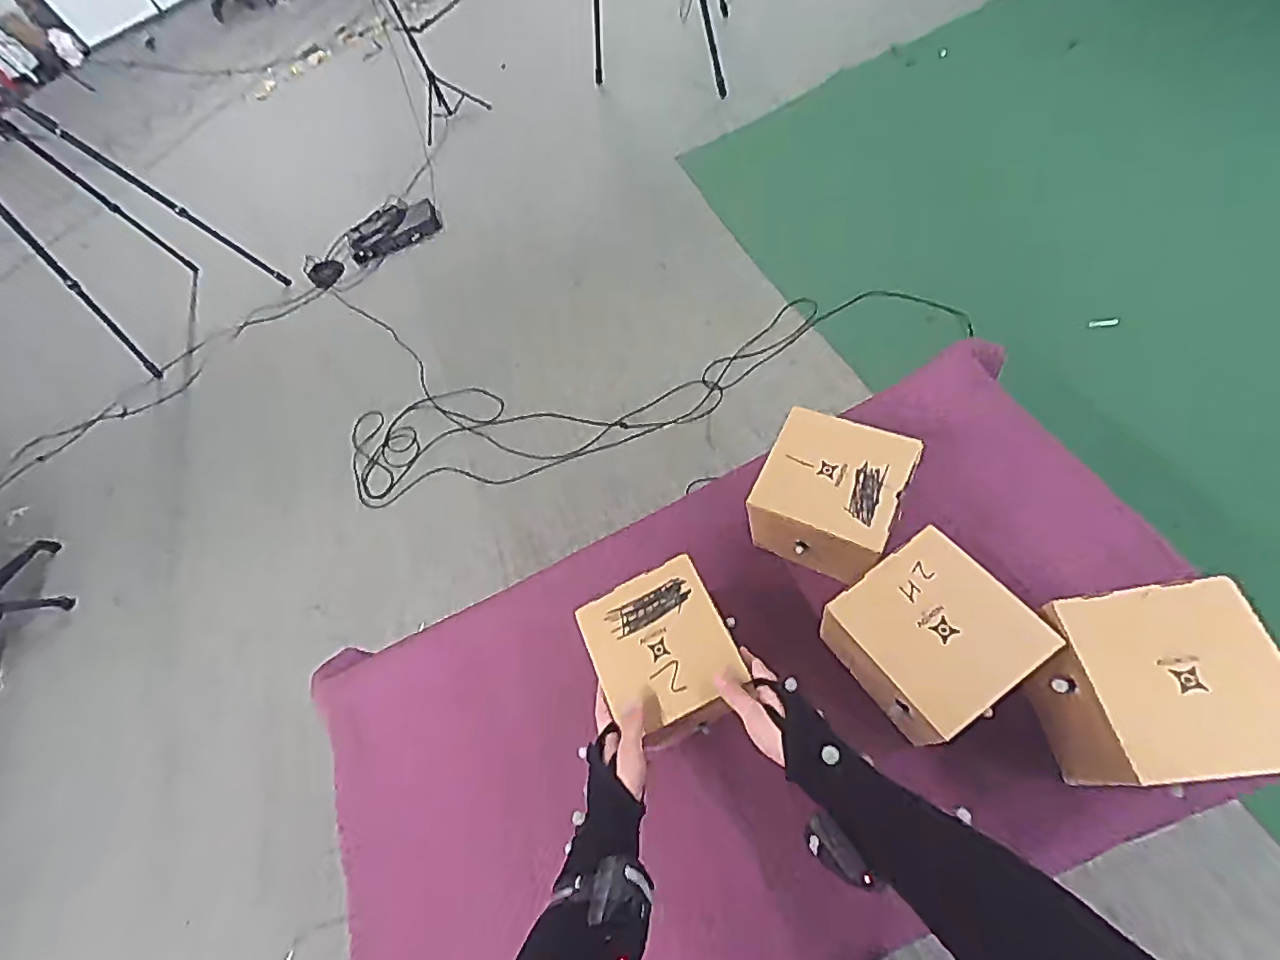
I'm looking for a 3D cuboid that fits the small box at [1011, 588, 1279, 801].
[{"bbox_3d":[0.542,0.235,0.580,0.168,0.176,0.179,-12,58,10],"label":"small box"}]
